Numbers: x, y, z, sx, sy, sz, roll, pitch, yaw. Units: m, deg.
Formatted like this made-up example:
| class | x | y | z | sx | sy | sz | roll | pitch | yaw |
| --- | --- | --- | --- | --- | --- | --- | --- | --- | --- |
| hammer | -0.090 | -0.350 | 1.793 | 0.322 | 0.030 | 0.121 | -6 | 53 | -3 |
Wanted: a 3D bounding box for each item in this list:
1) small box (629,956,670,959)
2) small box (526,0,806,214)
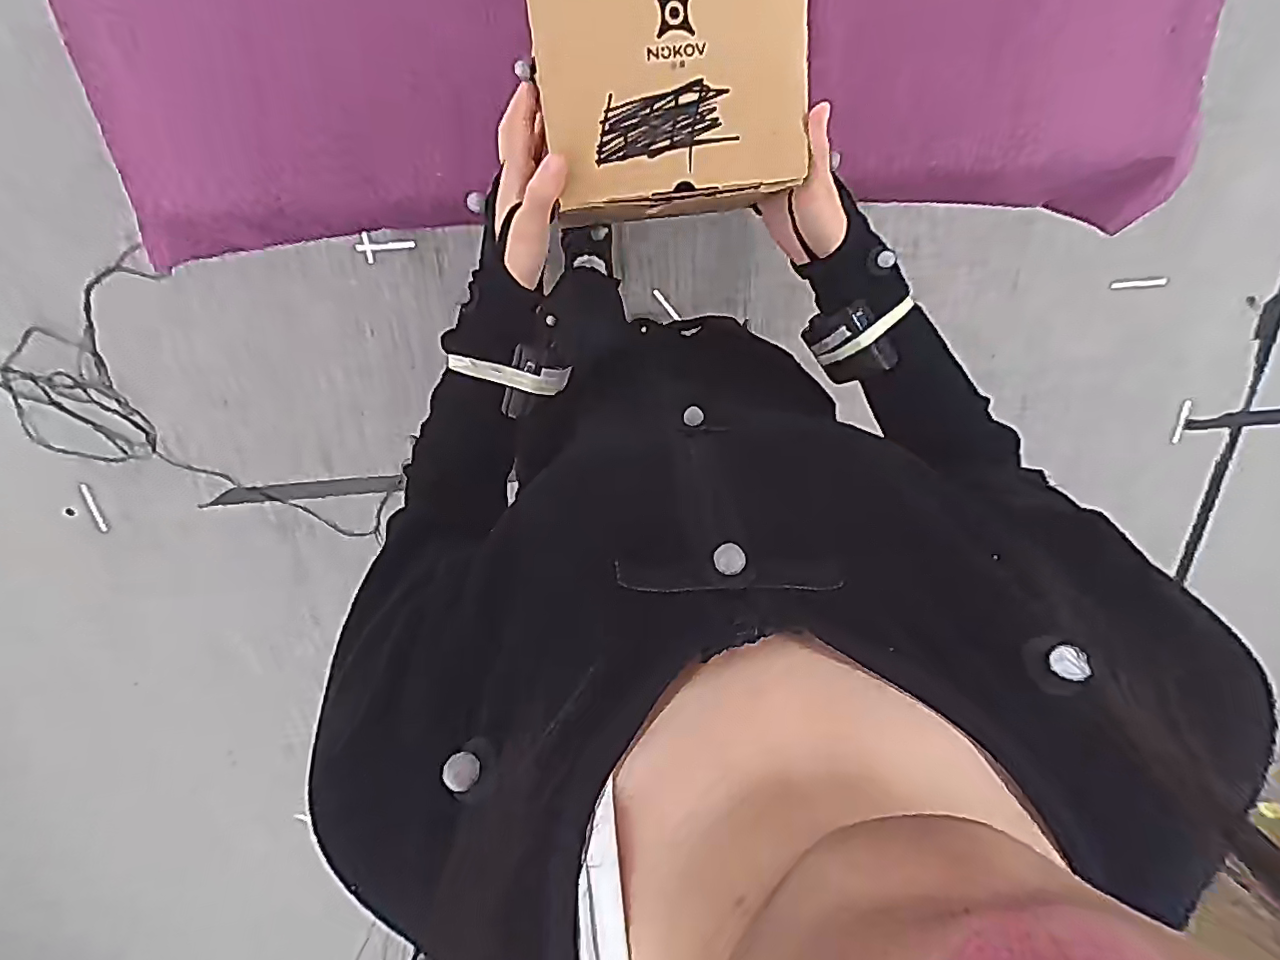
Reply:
| class | x | y | z | sx | sy | sz | roll | pitch | yaw |
| --- | --- | --- | --- | --- | --- | --- | --- | --- | --- |
| small box | 0.028 | 1.603 | 1.645 | 0.168 | 0.176 | 0.179 | -6 | 111 | -3 |
| small box | 0.009 | -0.298 | 0.391 | 0.168 | 0.176 | 0.179 | -8 | 111 | -4 |
